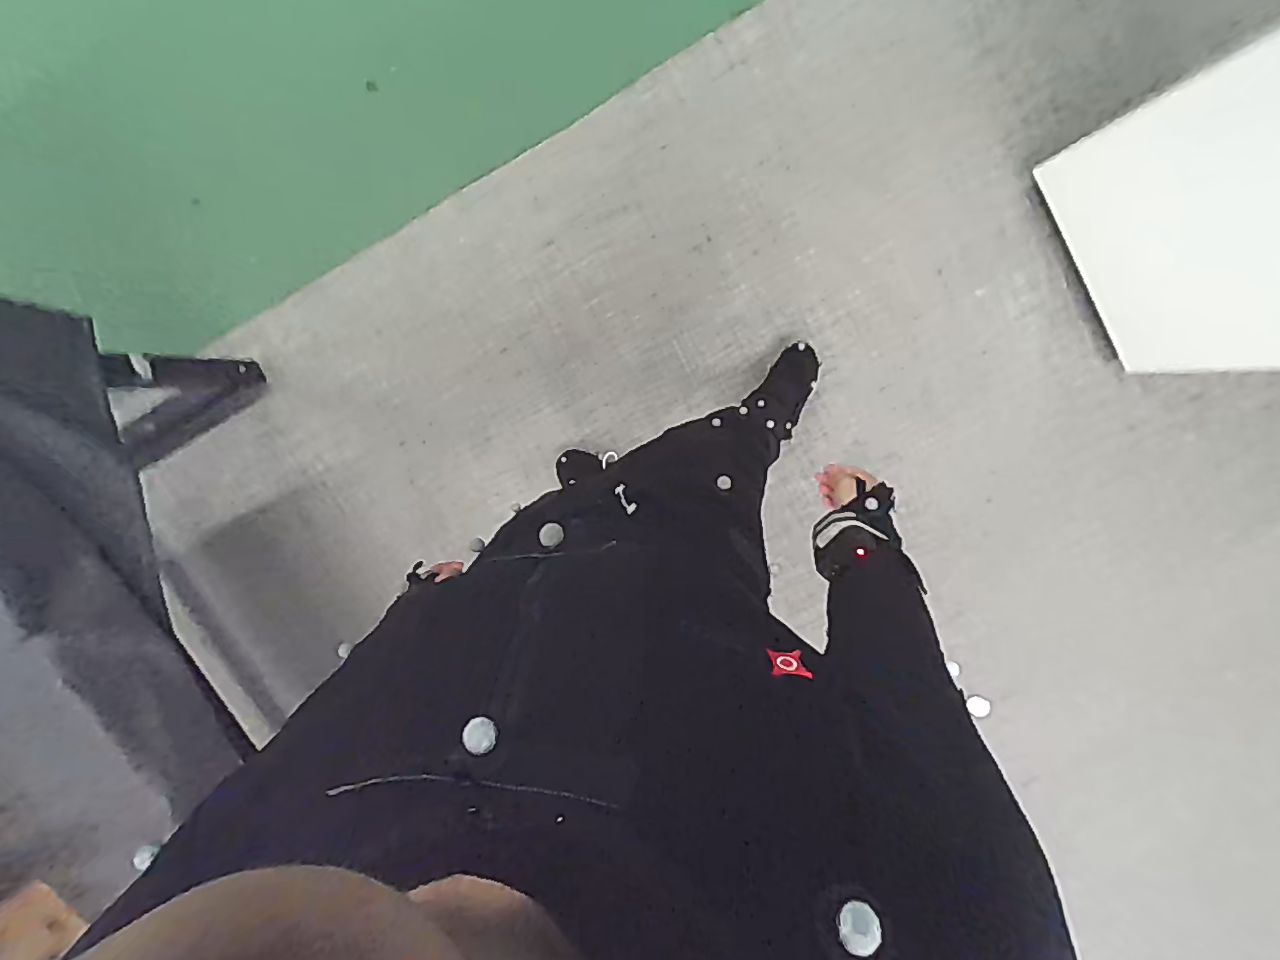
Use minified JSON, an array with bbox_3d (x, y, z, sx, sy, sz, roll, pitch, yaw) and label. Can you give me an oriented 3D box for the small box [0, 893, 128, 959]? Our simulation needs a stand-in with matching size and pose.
[{"bbox_3d":[-0.811,0.677,0.670,0.179,0.176,0.168,-37,97,7],"label":"small box"}]
